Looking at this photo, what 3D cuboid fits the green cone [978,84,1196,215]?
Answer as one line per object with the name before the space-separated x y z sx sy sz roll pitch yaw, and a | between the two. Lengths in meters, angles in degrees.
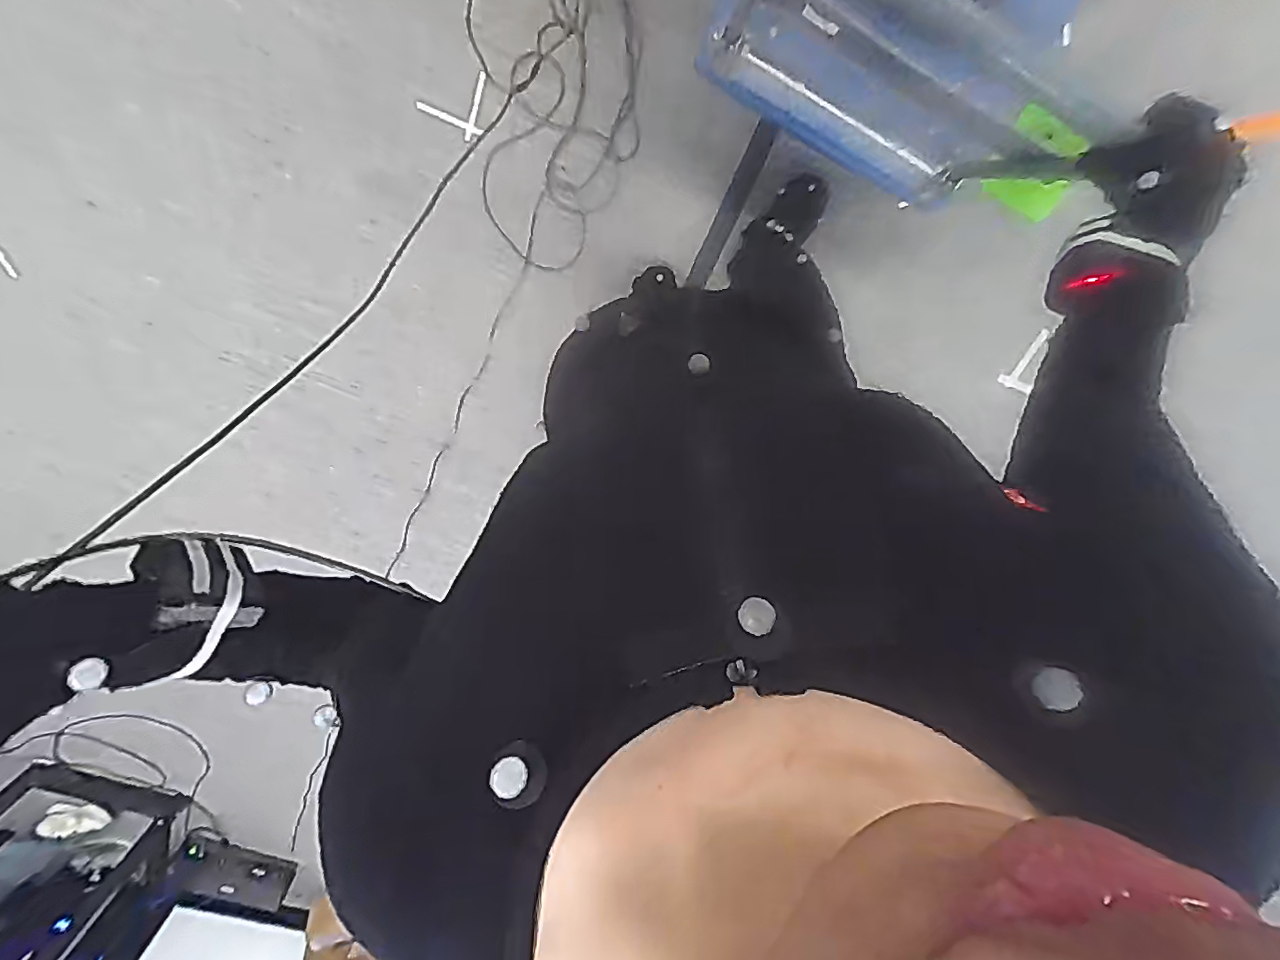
green cone | 0.879 -0.646 1.040 0.202 0.368 0.200 25 114 -12
